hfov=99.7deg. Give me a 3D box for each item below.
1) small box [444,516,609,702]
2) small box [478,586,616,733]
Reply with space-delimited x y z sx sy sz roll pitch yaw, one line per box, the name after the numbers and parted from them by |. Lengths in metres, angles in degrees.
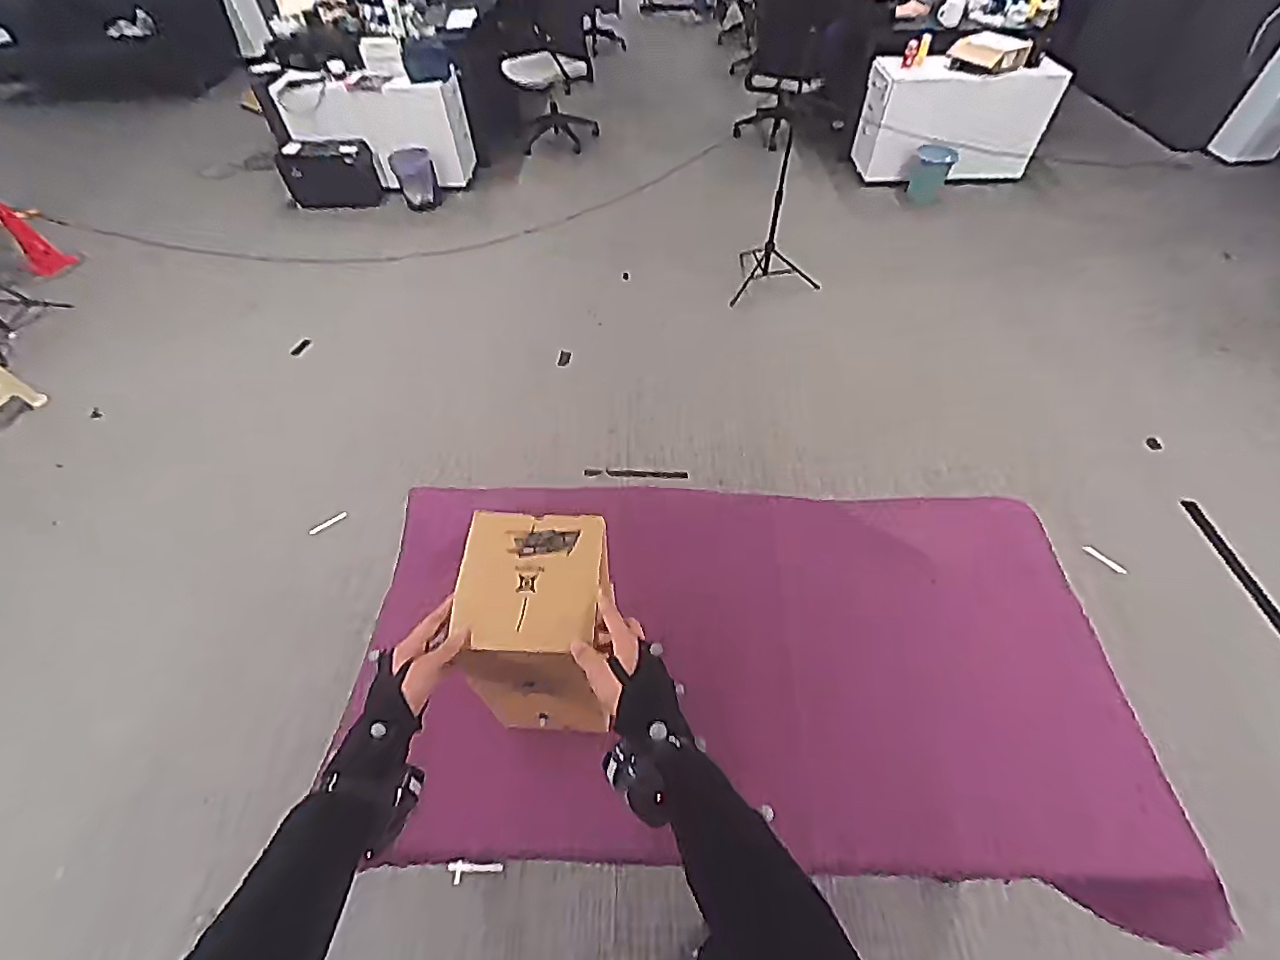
-0.129 0.167 0.694 0.168 0.176 0.179 2 53 1 | small box
-0.127 0.272 0.823 0.168 0.176 0.179 3 52 3 | small box
